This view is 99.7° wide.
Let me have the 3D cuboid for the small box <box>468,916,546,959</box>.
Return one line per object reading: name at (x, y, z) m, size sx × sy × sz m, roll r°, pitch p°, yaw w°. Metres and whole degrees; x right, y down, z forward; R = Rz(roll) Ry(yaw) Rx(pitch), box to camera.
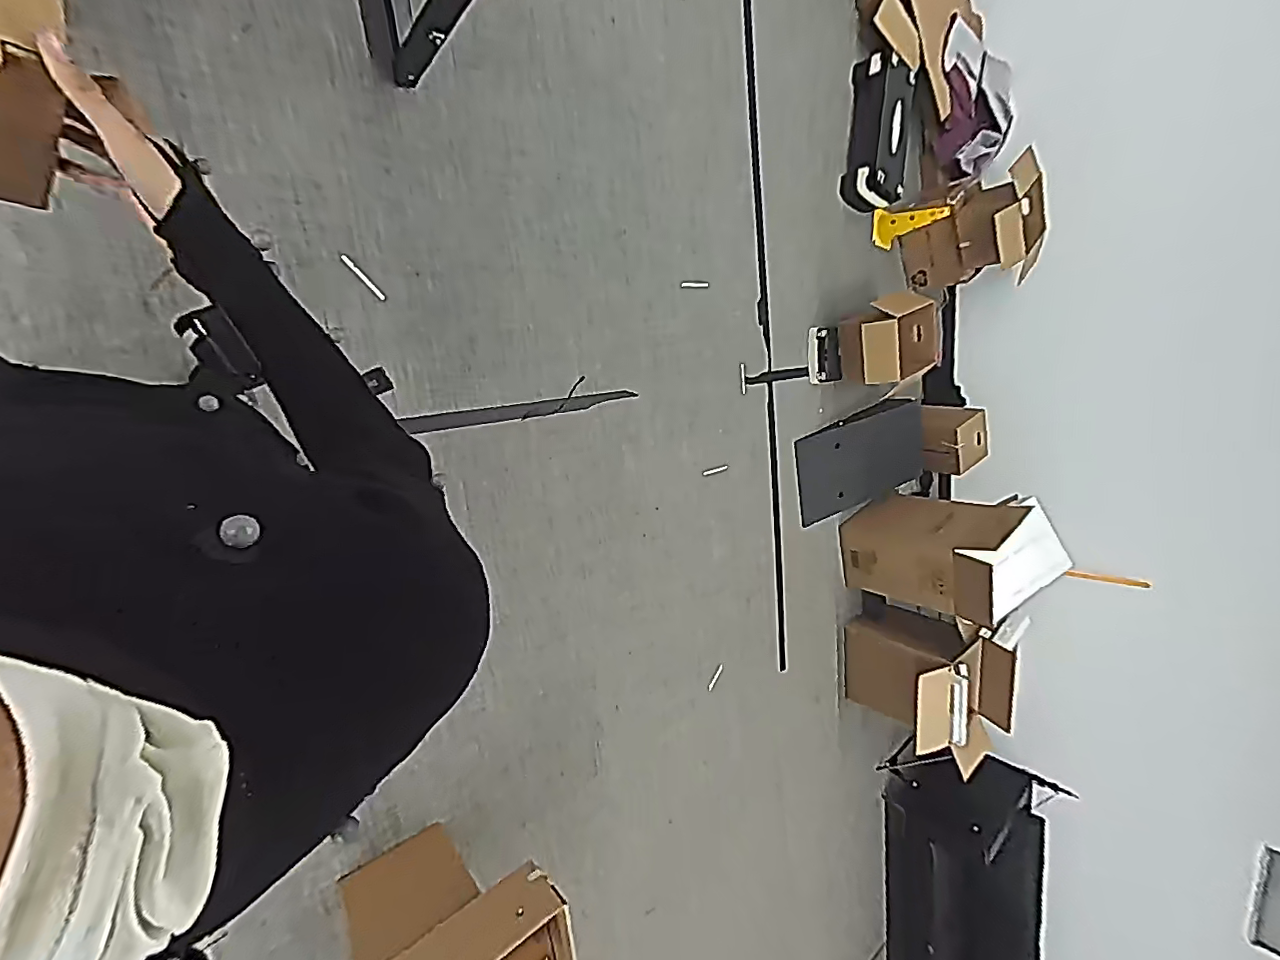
small box at (-0.349, 1.336, 1.437) m, size 0.179 × 0.176 × 0.168 m, roll -22°, pitch 111°, yaw -37°
